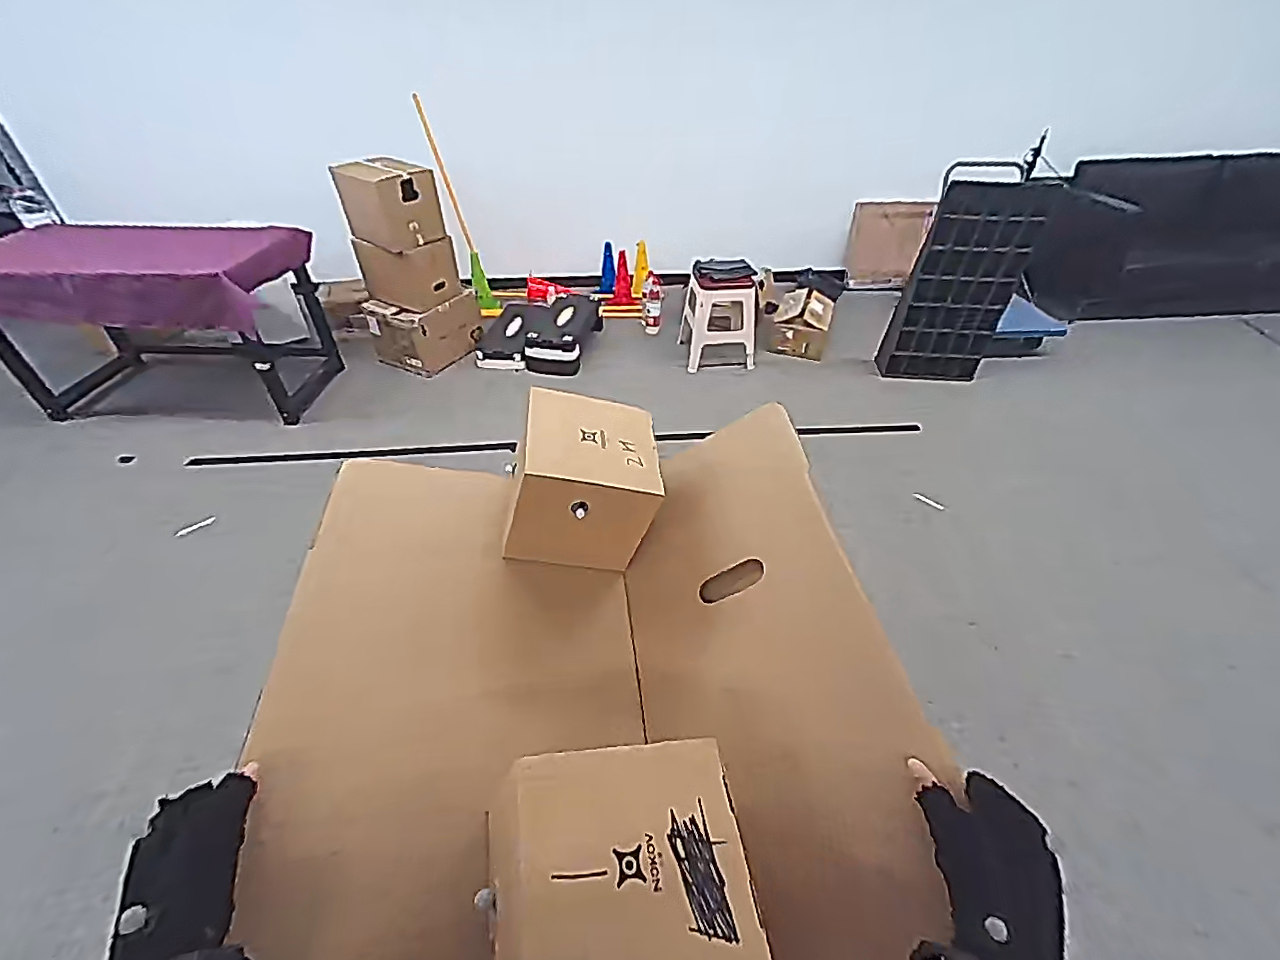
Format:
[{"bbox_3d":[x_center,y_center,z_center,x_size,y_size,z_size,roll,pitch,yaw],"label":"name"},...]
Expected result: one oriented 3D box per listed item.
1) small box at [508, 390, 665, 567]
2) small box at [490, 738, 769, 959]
[{"bbox_3d":[-0.080,0.004,0.753,0.179,0.176,0.168,11,45,-17],"label":"small box"},{"bbox_3d":[-0.025,0.334,0.457,0.179,0.176,0.168,5,47,-20],"label":"small box"}]
